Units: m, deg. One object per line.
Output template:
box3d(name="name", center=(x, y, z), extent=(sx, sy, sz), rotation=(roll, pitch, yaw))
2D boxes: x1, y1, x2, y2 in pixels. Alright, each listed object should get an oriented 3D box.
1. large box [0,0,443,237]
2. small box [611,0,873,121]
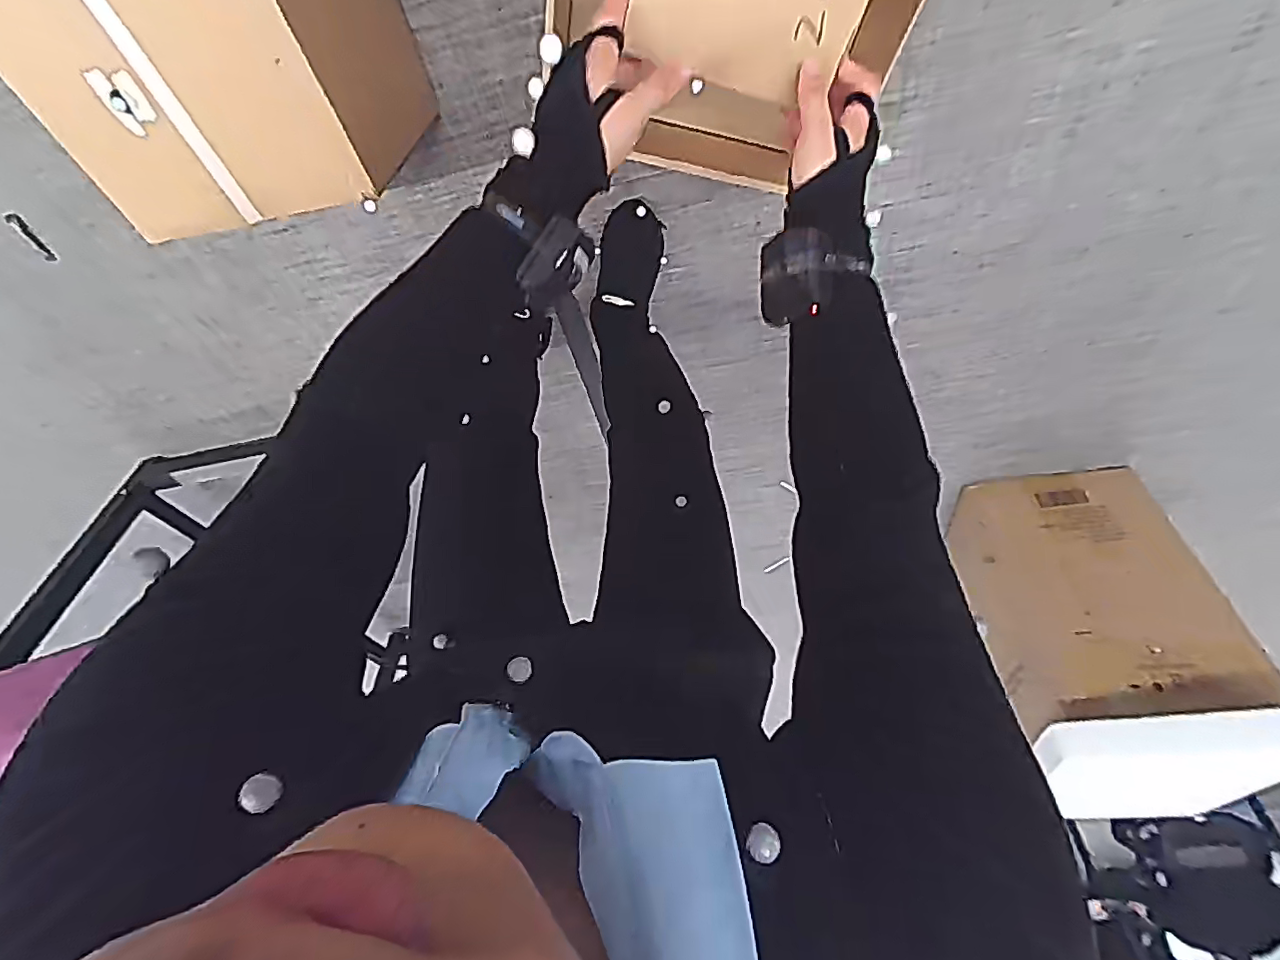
box3d(name="large box", center=(-0.474, -0.554, 0.585), extent=(0.320, 0.320, 0.408), rotation=(-6, 141, 9))
box3d(name="small box", center=(0.080, -0.420, 0.420), extent=(0.179, 0.176, 0.168), rotation=(7, 138, -16))
